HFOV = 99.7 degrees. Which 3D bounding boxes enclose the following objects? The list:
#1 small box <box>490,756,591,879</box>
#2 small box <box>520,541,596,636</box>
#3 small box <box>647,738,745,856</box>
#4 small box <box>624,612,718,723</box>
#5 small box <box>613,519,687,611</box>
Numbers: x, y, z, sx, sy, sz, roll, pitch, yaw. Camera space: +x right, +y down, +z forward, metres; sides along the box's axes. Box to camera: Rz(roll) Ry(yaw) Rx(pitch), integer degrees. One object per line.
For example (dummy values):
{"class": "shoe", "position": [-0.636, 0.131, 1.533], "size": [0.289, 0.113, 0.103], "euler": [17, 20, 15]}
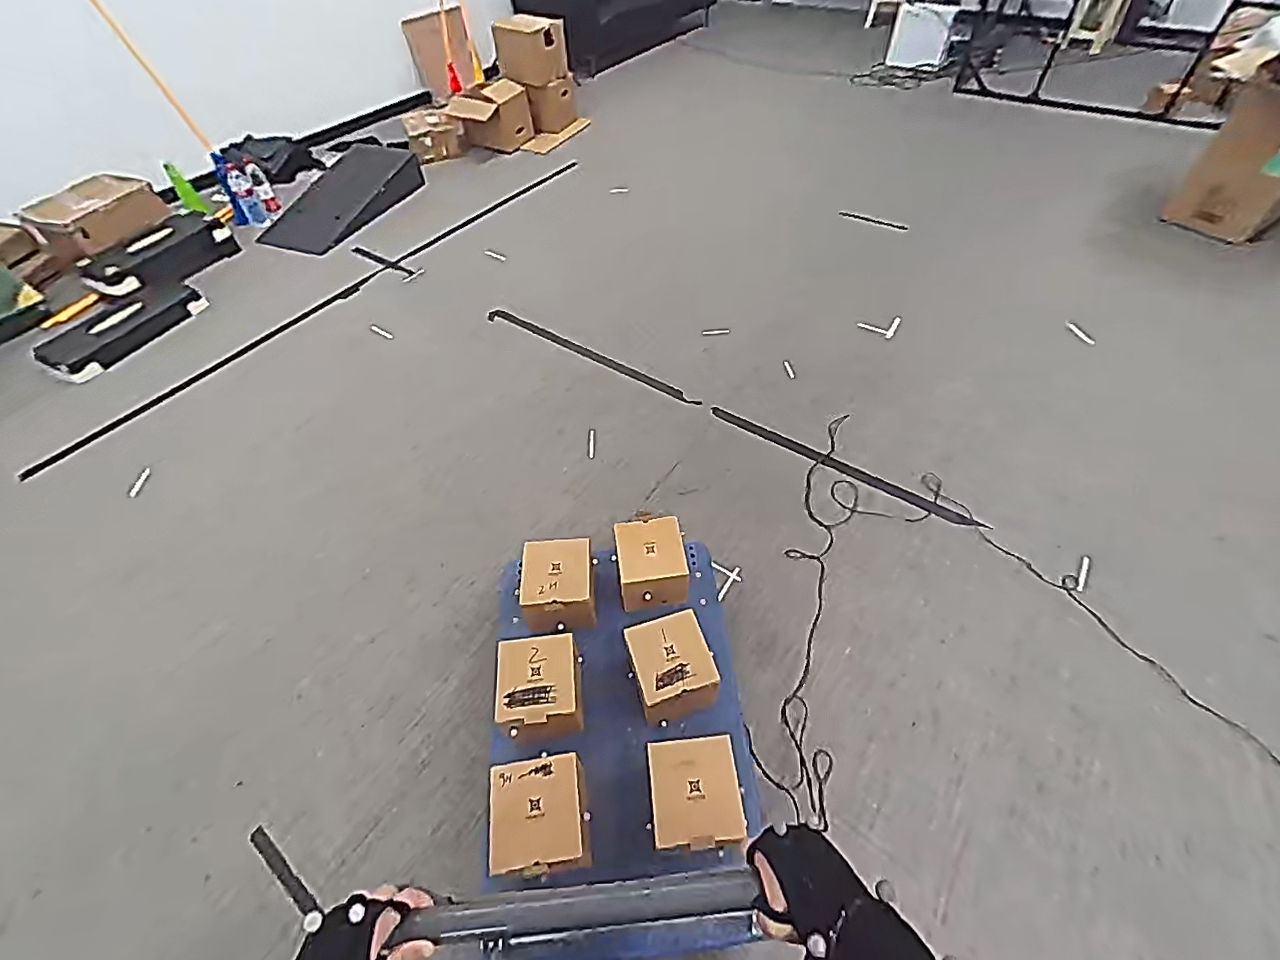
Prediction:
{"class": "small box", "position": [-0.191, 0.662, 1.055], "size": [0.168, 0.176, 0.179], "euler": [-8, 51, -5]}
{"class": "small box", "position": [-0.201, 0.276, 1.371], "size": [0.168, 0.176, 0.179], "euler": [-4, 51, -1]}
{"class": "small box", "position": [0.105, 0.632, 1.070], "size": [0.168, 0.176, 0.179], "euler": [-4, 50, -2]}
{"class": "small box", "position": [0.067, 0.434, 1.233], "size": [0.168, 0.176, 0.179], "euler": [-14, 50, -10]}
{"class": "small box", "position": [0.026, 0.228, 1.405], "size": [0.168, 0.176, 0.179], "euler": [-8, 51, -4]}
